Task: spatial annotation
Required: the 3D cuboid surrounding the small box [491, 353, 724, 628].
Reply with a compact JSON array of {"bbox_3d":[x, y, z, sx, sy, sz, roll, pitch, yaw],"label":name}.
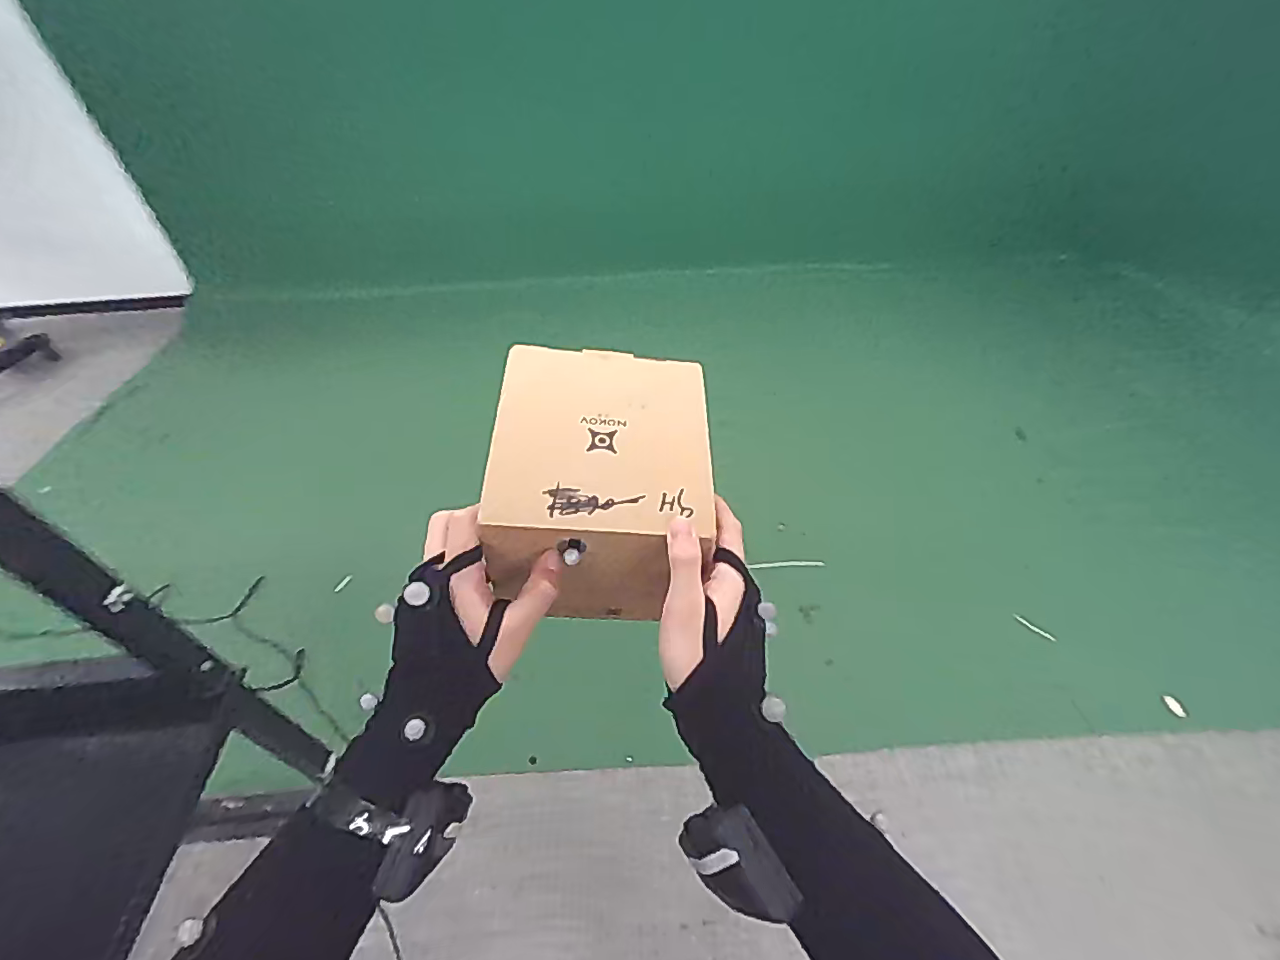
[{"bbox_3d":[-0.029,0.015,0.484,0.168,0.176,0.179,5,55,-4],"label":"small box"}]
